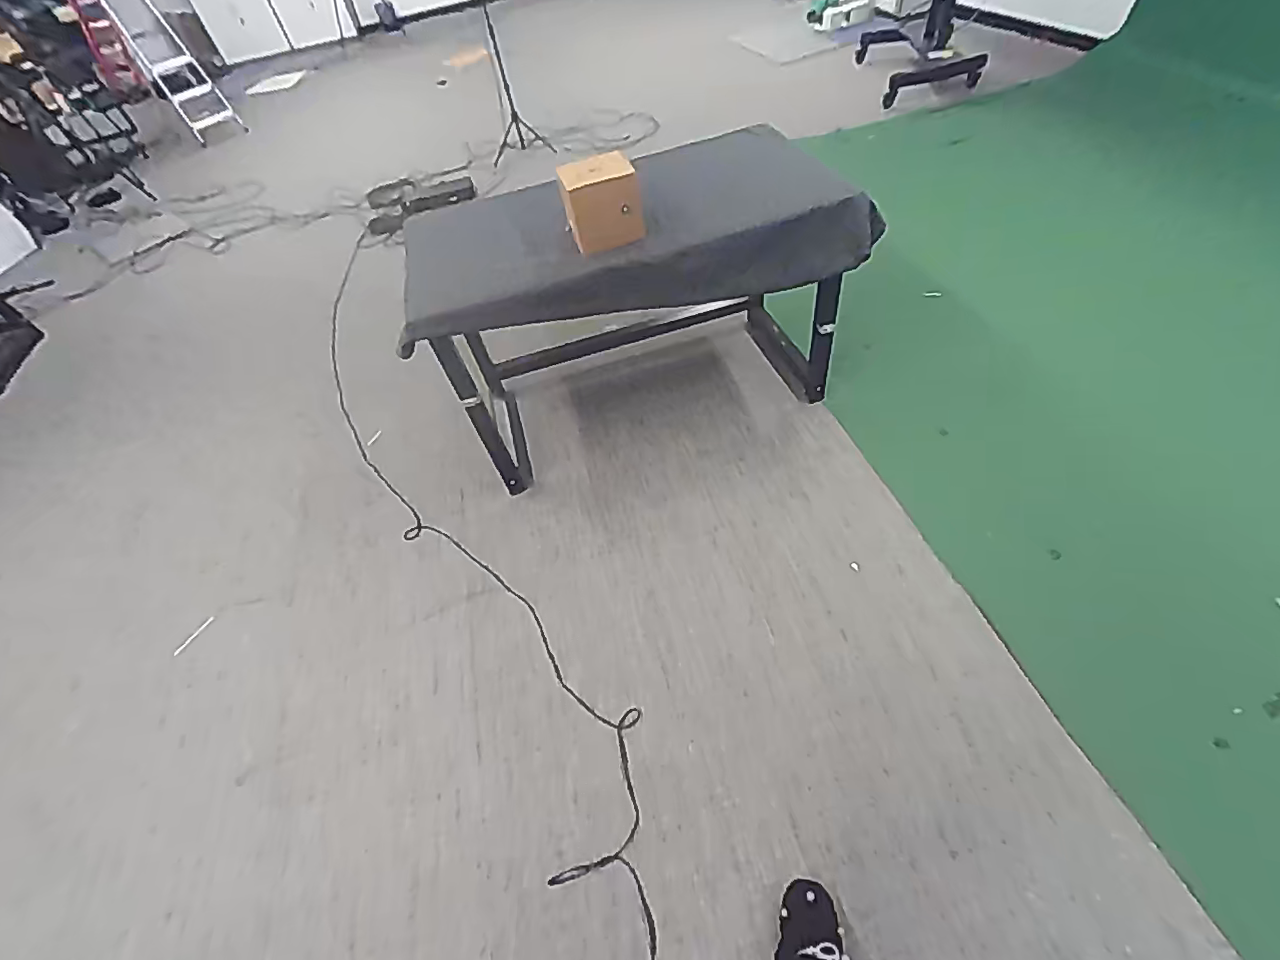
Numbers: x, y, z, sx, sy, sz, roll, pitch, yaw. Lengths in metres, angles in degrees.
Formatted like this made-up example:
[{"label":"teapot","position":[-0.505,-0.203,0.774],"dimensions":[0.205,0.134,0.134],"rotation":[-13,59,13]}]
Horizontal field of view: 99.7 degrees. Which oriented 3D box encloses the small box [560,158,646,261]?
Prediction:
[{"label":"small box","position":[-0.090,-0.700,1.402],"dimensions":[0.179,0.176,0.168],"rotation":[-19,48,-4]}]
